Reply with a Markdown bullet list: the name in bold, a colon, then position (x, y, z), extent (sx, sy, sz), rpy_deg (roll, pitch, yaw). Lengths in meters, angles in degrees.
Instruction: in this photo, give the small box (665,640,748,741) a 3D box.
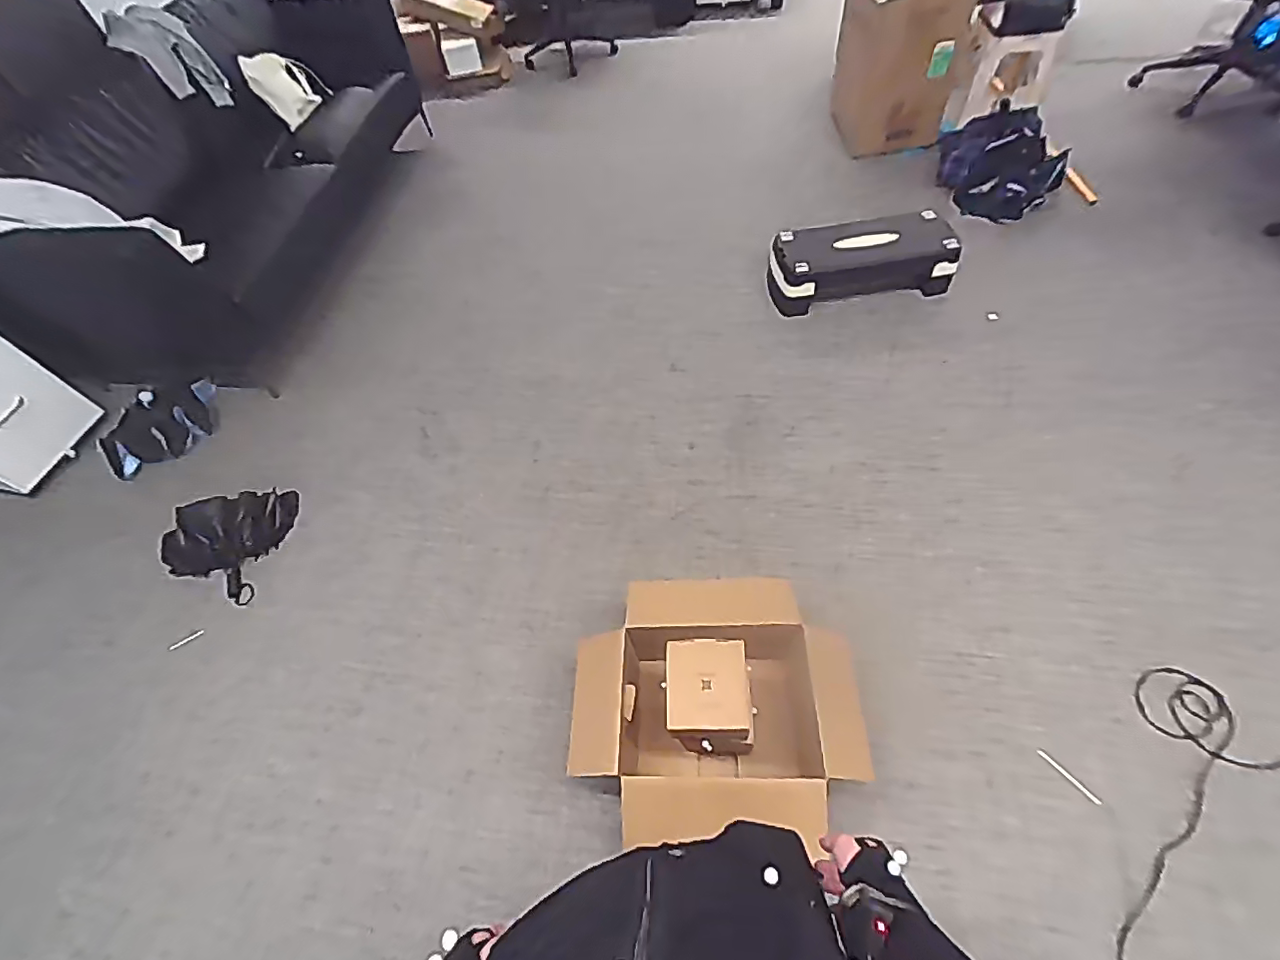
- **small box**: position (0.143, 0.457, 1.169), extent (0.168, 0.176, 0.179), rpy_deg (-3, 58, 8)
